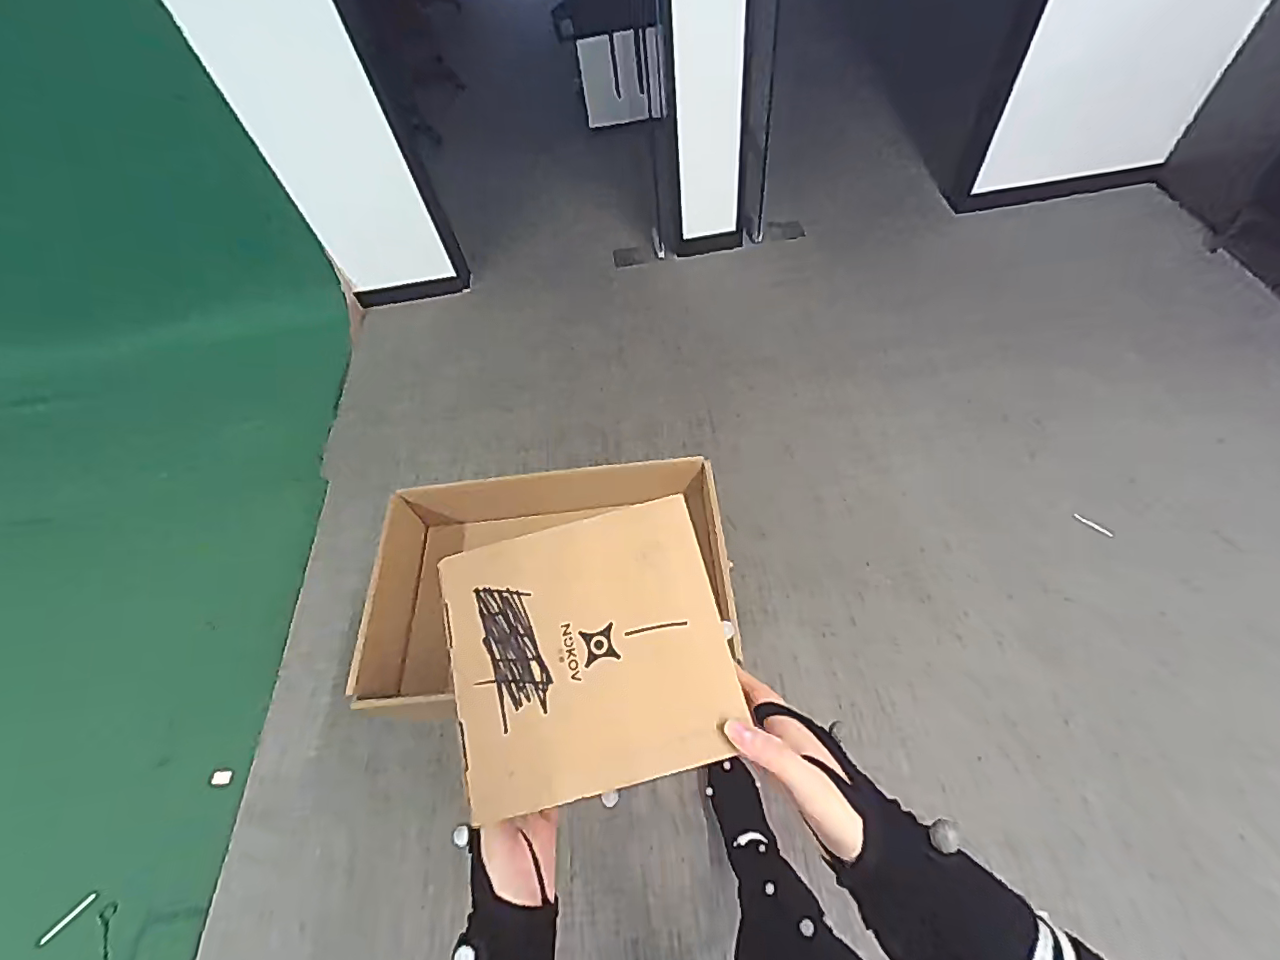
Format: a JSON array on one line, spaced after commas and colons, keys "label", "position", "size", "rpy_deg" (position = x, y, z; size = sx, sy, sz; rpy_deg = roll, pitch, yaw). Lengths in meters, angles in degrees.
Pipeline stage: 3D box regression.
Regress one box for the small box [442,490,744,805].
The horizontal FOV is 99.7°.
[{"label": "small box", "position": [-0.030, 0.131, 0.425], "size": [0.179, 0.176, 0.168], "rpy_deg": [-15, 68, -1]}]
